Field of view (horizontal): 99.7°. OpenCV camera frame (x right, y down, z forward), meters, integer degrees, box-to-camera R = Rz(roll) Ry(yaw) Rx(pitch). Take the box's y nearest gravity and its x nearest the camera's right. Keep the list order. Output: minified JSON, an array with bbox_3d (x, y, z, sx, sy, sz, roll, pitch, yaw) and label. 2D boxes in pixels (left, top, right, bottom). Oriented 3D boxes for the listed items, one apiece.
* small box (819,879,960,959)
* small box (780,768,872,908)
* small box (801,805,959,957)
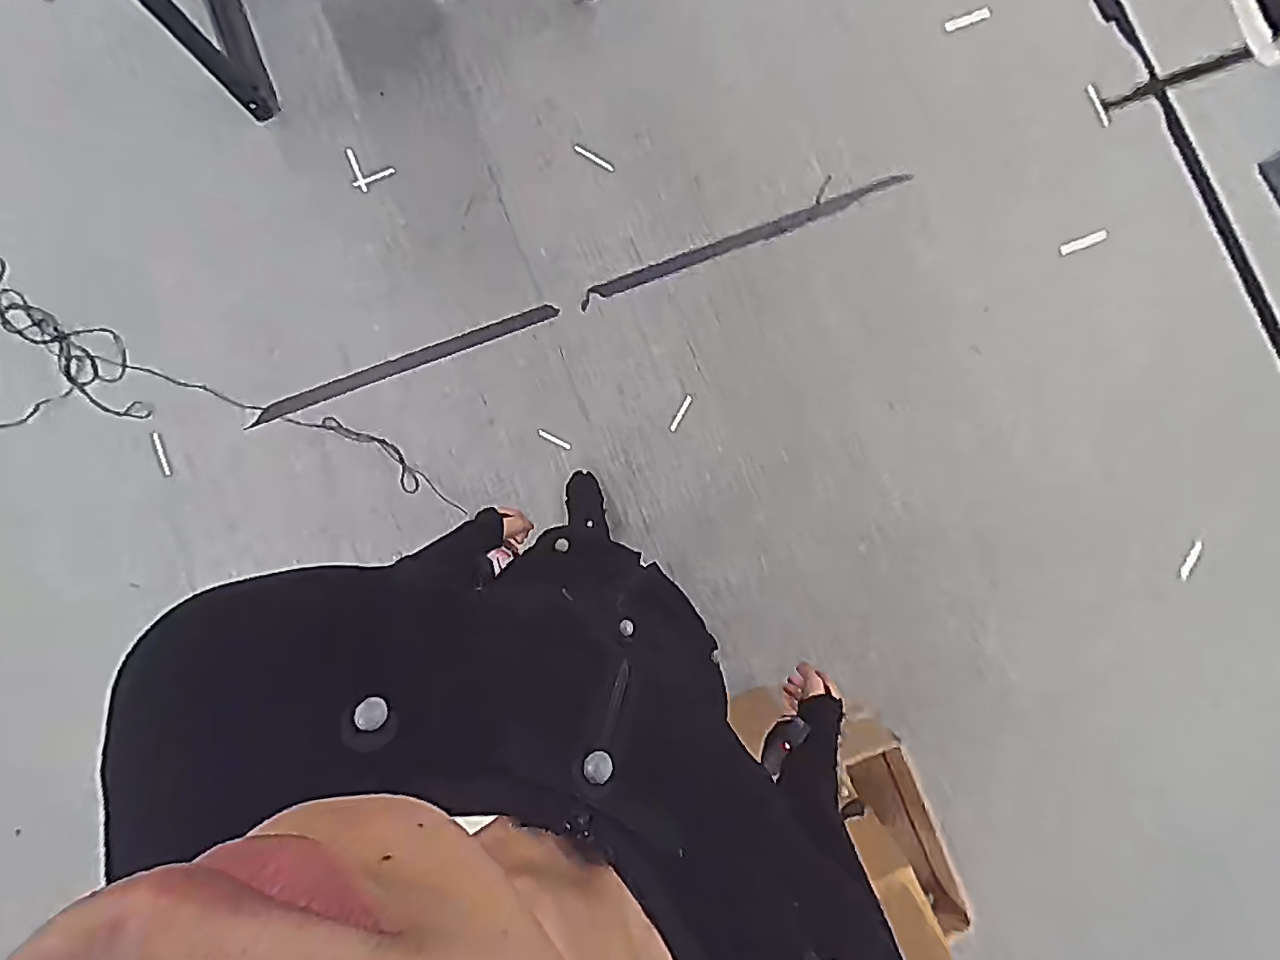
[{"bbox_3d":[0.389,0.747,0.793,0.168,0.176,0.179,-23,88,1],"label":"small box"},{"bbox_3d":[0.408,0.743,1.119,0.179,0.176,0.168,-28,88,0],"label":"small box"},{"bbox_3d":[0.411,0.728,0.956,0.168,0.176,0.179,-26,88,0],"label":"small box"}]
